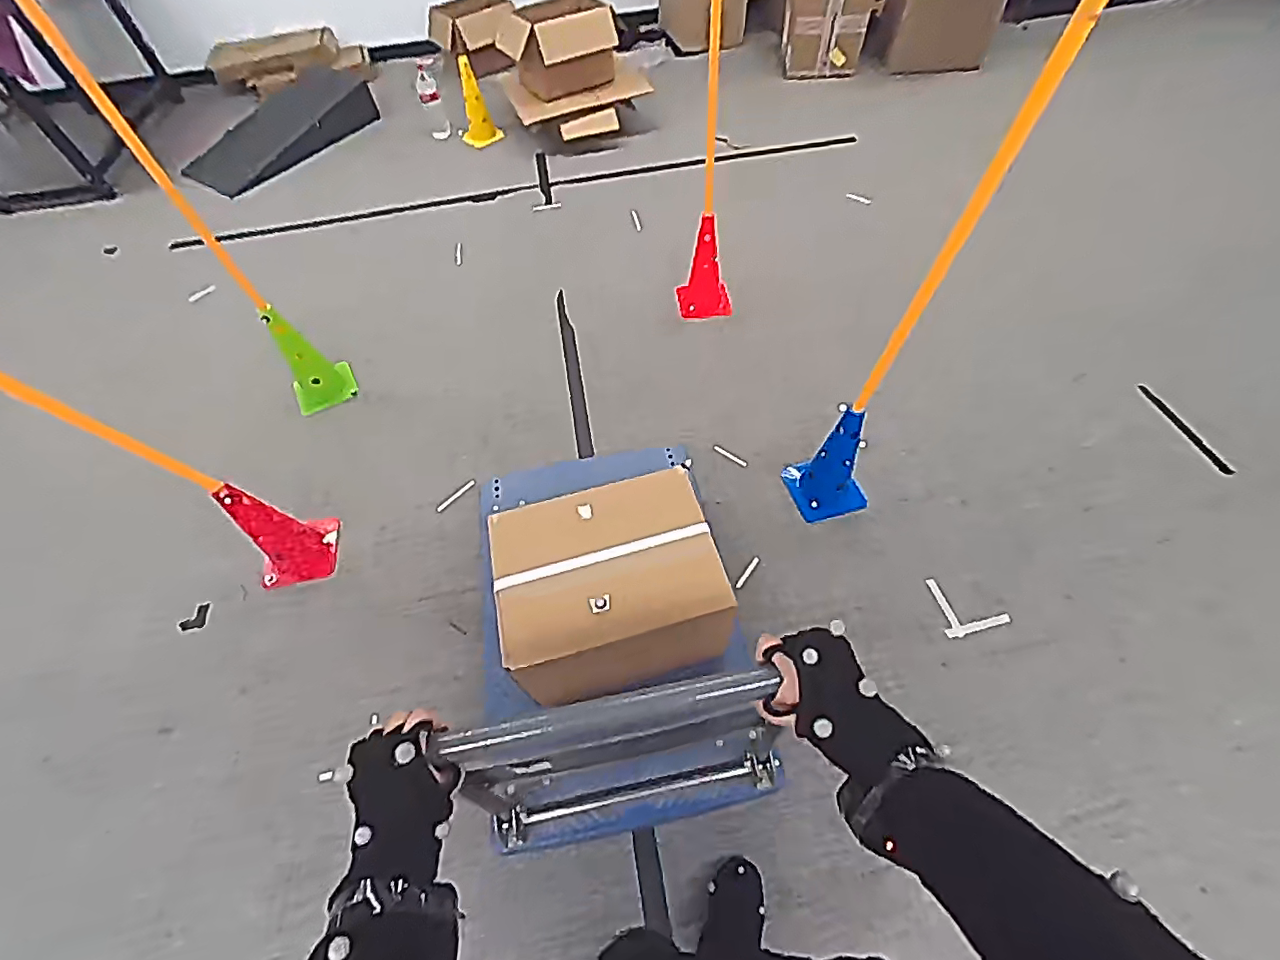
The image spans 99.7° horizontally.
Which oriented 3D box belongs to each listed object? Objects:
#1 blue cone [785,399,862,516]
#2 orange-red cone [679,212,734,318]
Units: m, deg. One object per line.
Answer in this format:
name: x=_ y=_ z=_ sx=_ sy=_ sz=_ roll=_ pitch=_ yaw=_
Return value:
blue cone: x=0.543 y=-0.074 z=1.487 sx=0.193 sy=0.380 sz=0.192 roll=-14 pitch=56 yaw=-6
orange-red cone: x=0.250 y=-0.794 z=1.962 sx=0.199 sy=0.360 sz=0.198 roll=-4 pitch=57 yaw=-1
